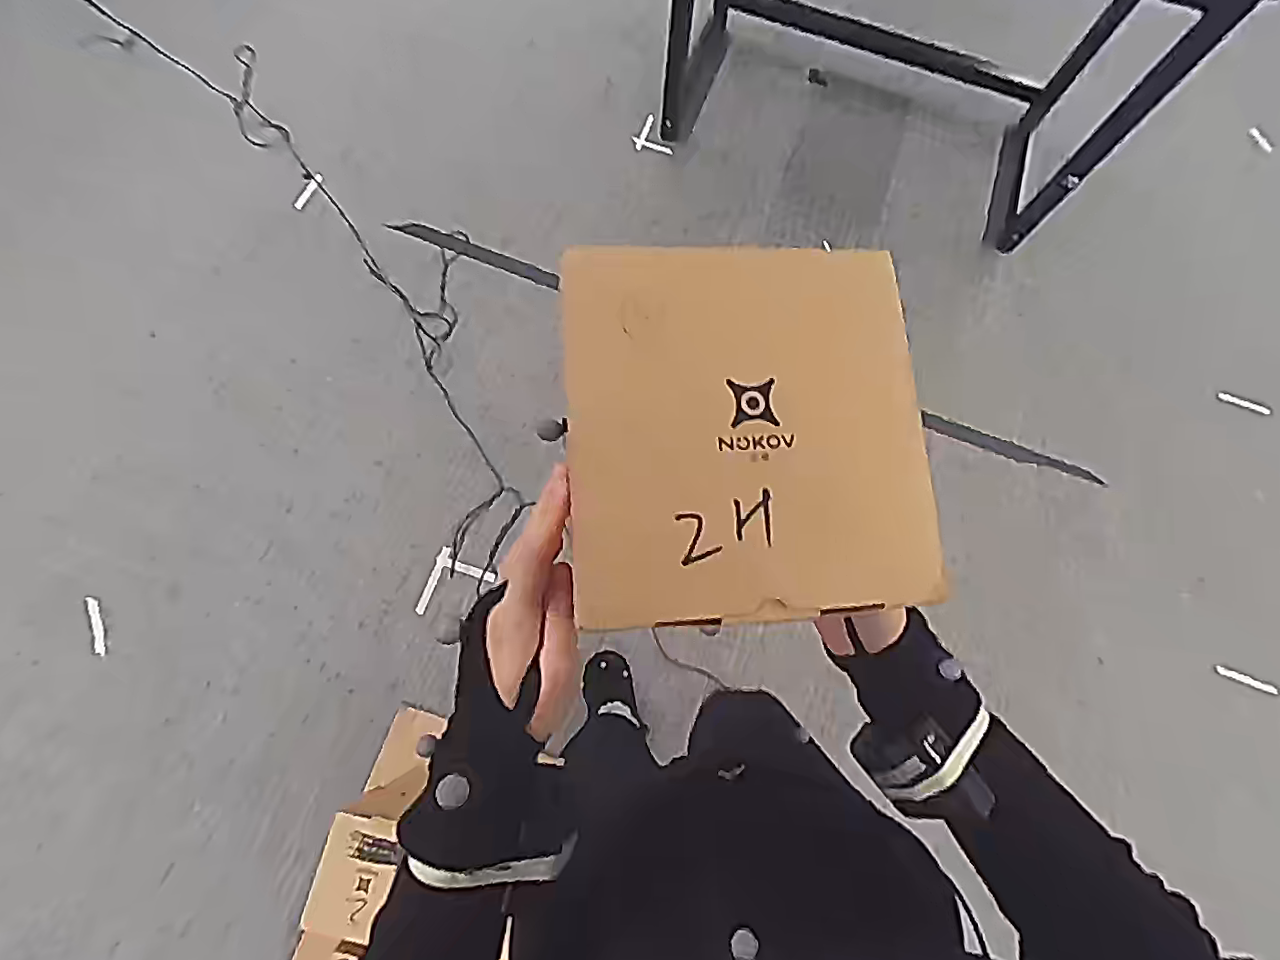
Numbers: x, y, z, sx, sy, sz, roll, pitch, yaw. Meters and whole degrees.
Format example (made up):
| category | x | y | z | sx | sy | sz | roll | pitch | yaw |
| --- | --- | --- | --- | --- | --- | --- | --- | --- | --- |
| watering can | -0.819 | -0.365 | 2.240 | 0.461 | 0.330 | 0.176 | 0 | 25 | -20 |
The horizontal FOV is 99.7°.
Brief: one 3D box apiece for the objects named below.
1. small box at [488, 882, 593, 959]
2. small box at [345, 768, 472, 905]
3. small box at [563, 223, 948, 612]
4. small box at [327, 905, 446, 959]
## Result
| category | x | y | z | sx | sy | sz | roll | pitch | yaw |
| --- | --- | --- | --- | --- | --- | --- | --- | --- | --- |
| small box | -0.203 | 0.941 | 1.069 | 0.179 | 0.176 | 0.168 | 23 | 74 | 3 |
| small box | -0.465 | 0.723 | 1.120 | 0.168 | 0.176 | 0.179 | 14 | 74 | 2 |
| small box | 0.039 | -0.019 | 0.318 | 0.168 | 0.176 | 0.179 | -2 | 80 | -7 |
| small box | -0.506 | 0.970 | 1.049 | 0.179 | 0.176 | 0.168 | 14 | 75 | 1 |
